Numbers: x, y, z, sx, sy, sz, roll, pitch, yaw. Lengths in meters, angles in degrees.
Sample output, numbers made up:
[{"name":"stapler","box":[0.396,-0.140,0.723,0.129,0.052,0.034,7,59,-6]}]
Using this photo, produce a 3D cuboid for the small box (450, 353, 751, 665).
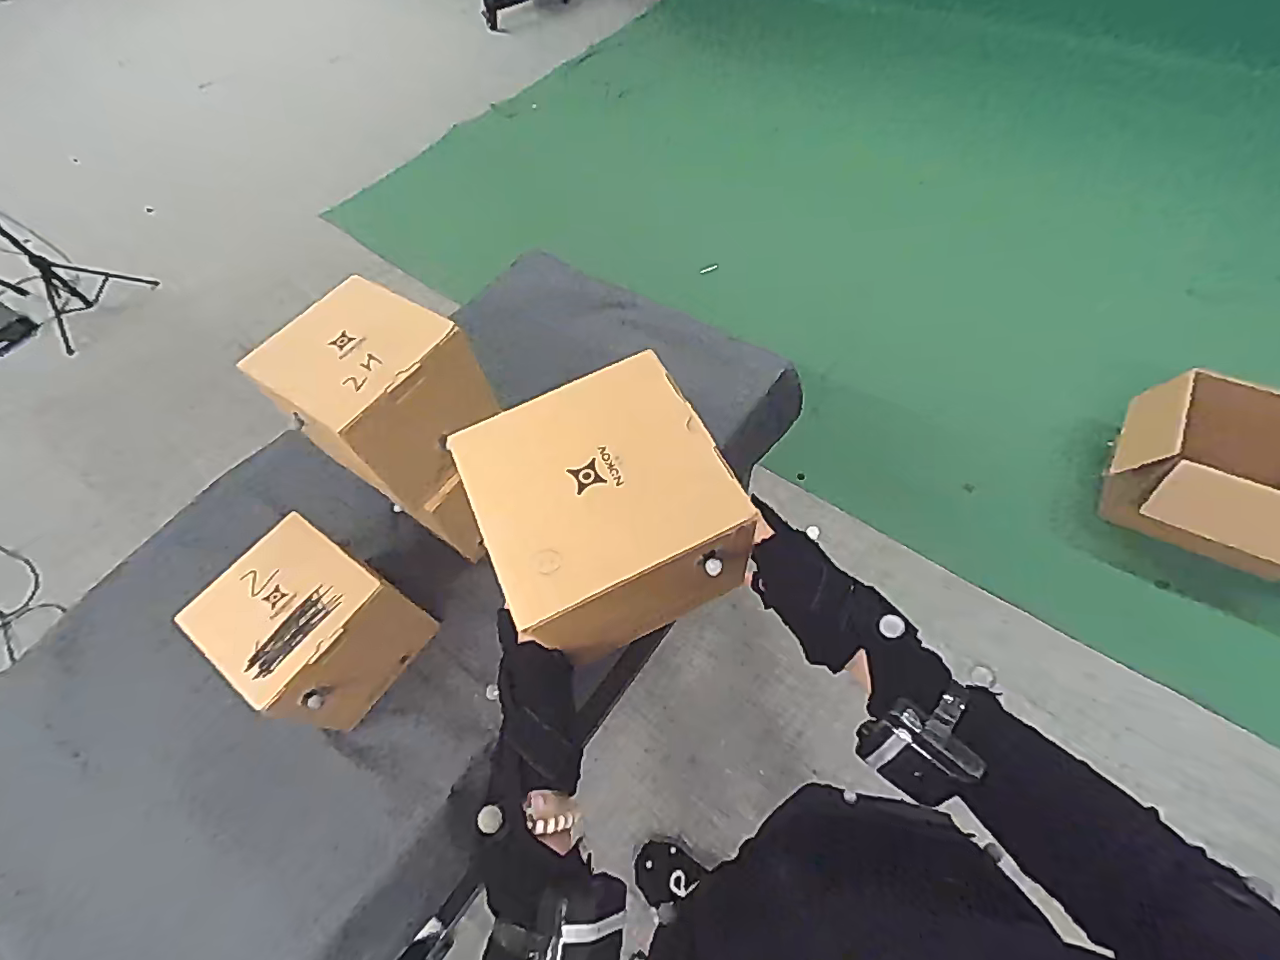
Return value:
[{"name":"small box","box":[-0.026,0.034,0.453,0.179,0.176,0.168,-25,63,-7]}]

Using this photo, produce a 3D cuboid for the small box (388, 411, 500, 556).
[{"name":"small box","box":[-0.269,-0.013,0.779,0.179,0.176,0.168,30,66,22]}]

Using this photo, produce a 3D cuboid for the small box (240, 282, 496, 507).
[{"name":"small box","box":[-0.302,-0.095,0.639,0.179,0.176,0.168,29,66,20]}]
